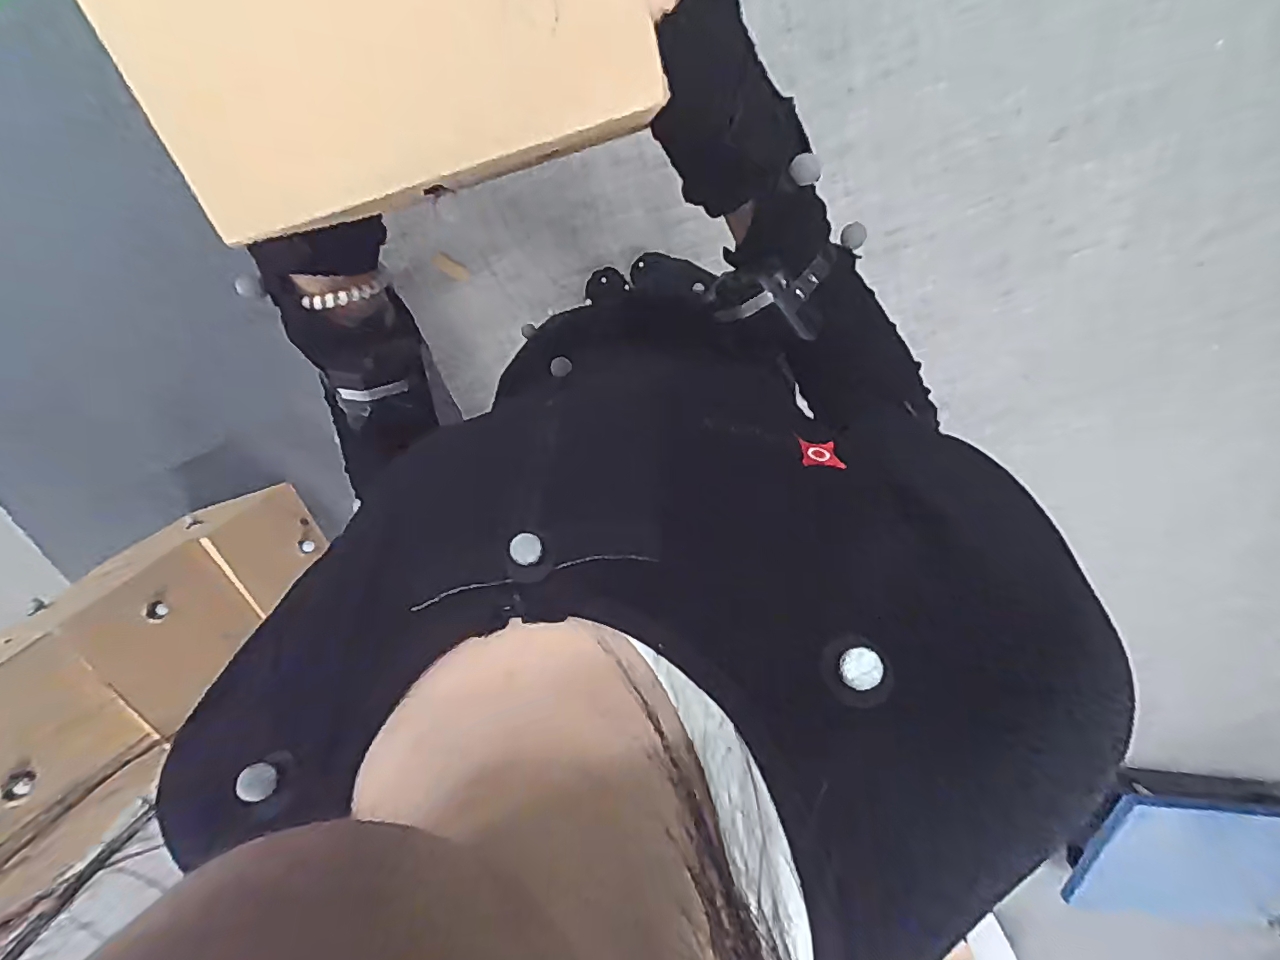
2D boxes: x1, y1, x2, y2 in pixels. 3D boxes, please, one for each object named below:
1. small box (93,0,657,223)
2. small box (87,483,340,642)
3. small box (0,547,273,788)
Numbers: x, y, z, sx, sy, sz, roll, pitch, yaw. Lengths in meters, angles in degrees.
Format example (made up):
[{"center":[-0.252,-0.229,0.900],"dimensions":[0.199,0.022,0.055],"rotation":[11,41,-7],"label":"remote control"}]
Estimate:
[{"center":[-0.092,-0.222,0.212],"dimensions":[0.168,0.176,0.179],"rotation":[-14,119,7],"label":"small box"},{"center":[-0.565,0.125,0.746],"dimensions":[0.179,0.176,0.168],"rotation":[-17,112,7],"label":"small box"},{"center":[-0.568,0.193,0.598],"dimensions":[0.168,0.176,0.179],"rotation":[-18,112,9],"label":"small box"}]
